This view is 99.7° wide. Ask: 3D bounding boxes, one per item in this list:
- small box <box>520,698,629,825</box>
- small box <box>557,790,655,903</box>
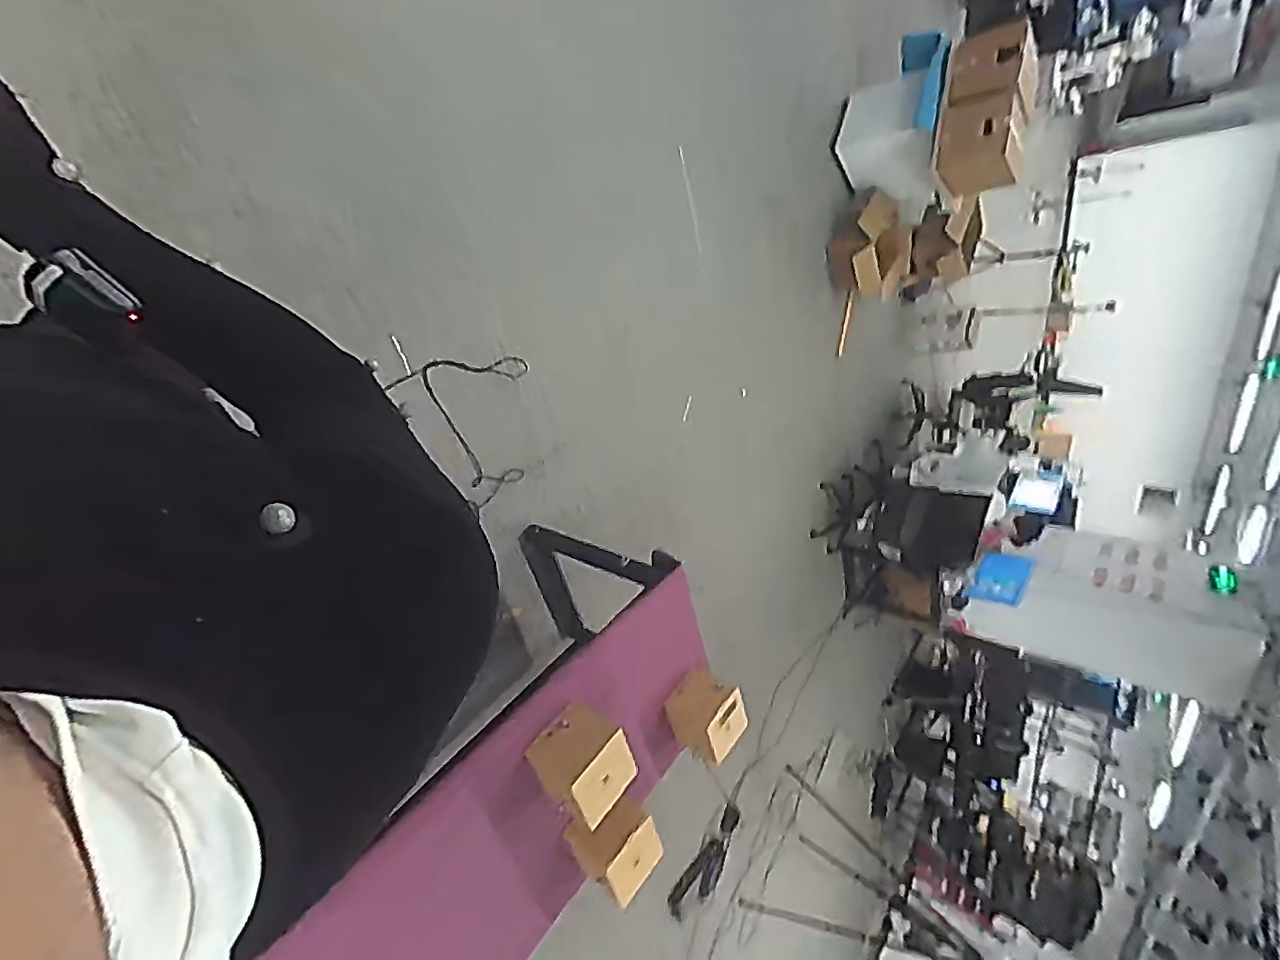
[{"bbox_3d":[-0.155,0.658,1.283,0.168,0.176,0.179,-37,126,-36],"label":"small box"},{"bbox_3d":[-0.090,0.944,1.428,0.168,0.176,0.179,-34,121,-36],"label":"small box"}]
